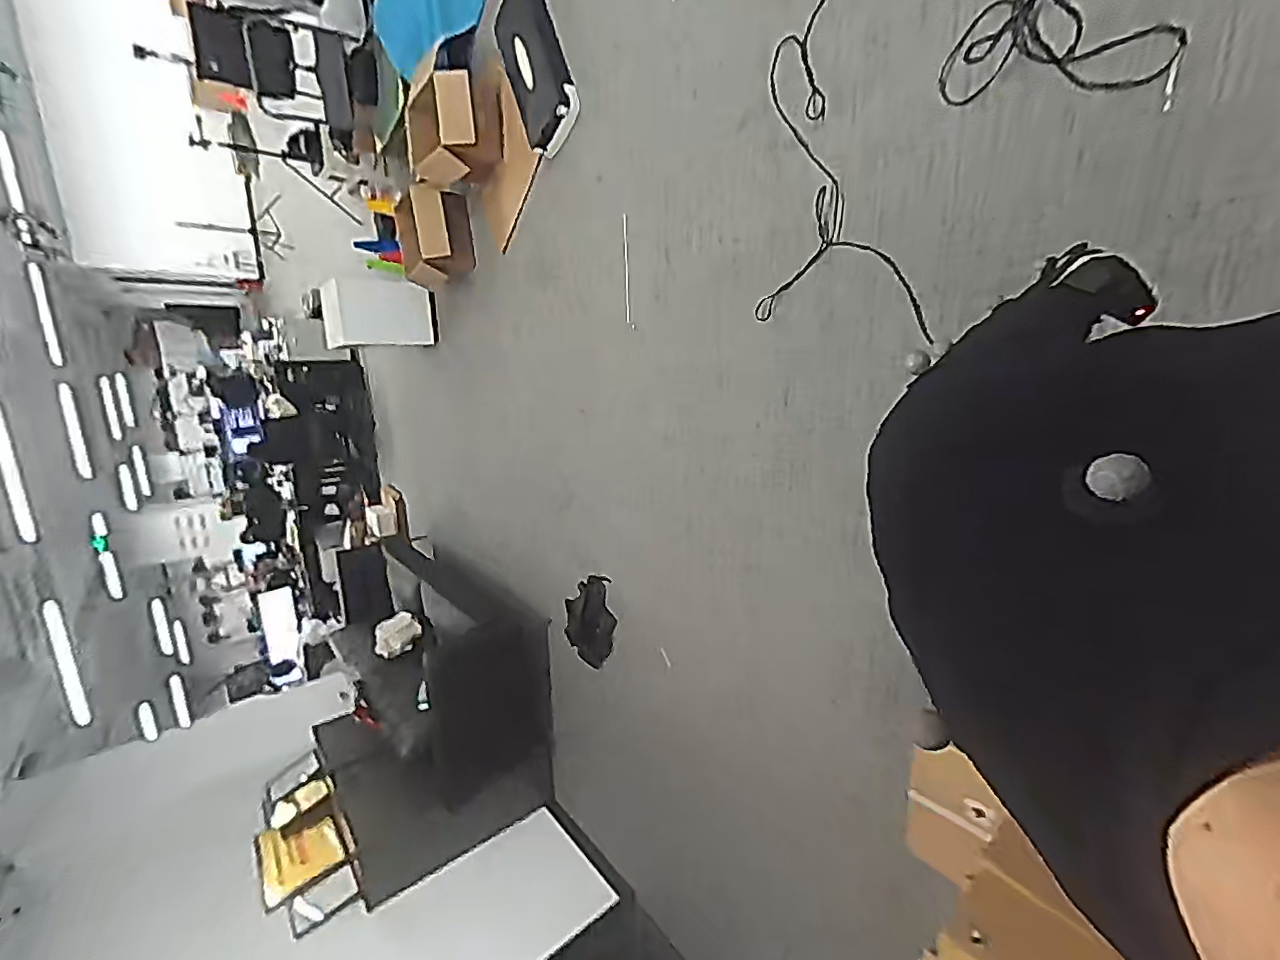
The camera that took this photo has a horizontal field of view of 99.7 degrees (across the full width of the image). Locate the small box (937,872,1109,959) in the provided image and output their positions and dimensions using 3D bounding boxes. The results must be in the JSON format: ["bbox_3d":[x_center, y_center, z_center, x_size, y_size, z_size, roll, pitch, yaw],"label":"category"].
[{"bbox_3d":[0.575,0.758,0.822,0.179,0.176,0.168,16,112,49],"label":"small box"}]

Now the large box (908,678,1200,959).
[{"bbox_3d":[0.843,0.685,1.130,0.408,0.320,0.320,15,109,51],"label":"large box"}]
